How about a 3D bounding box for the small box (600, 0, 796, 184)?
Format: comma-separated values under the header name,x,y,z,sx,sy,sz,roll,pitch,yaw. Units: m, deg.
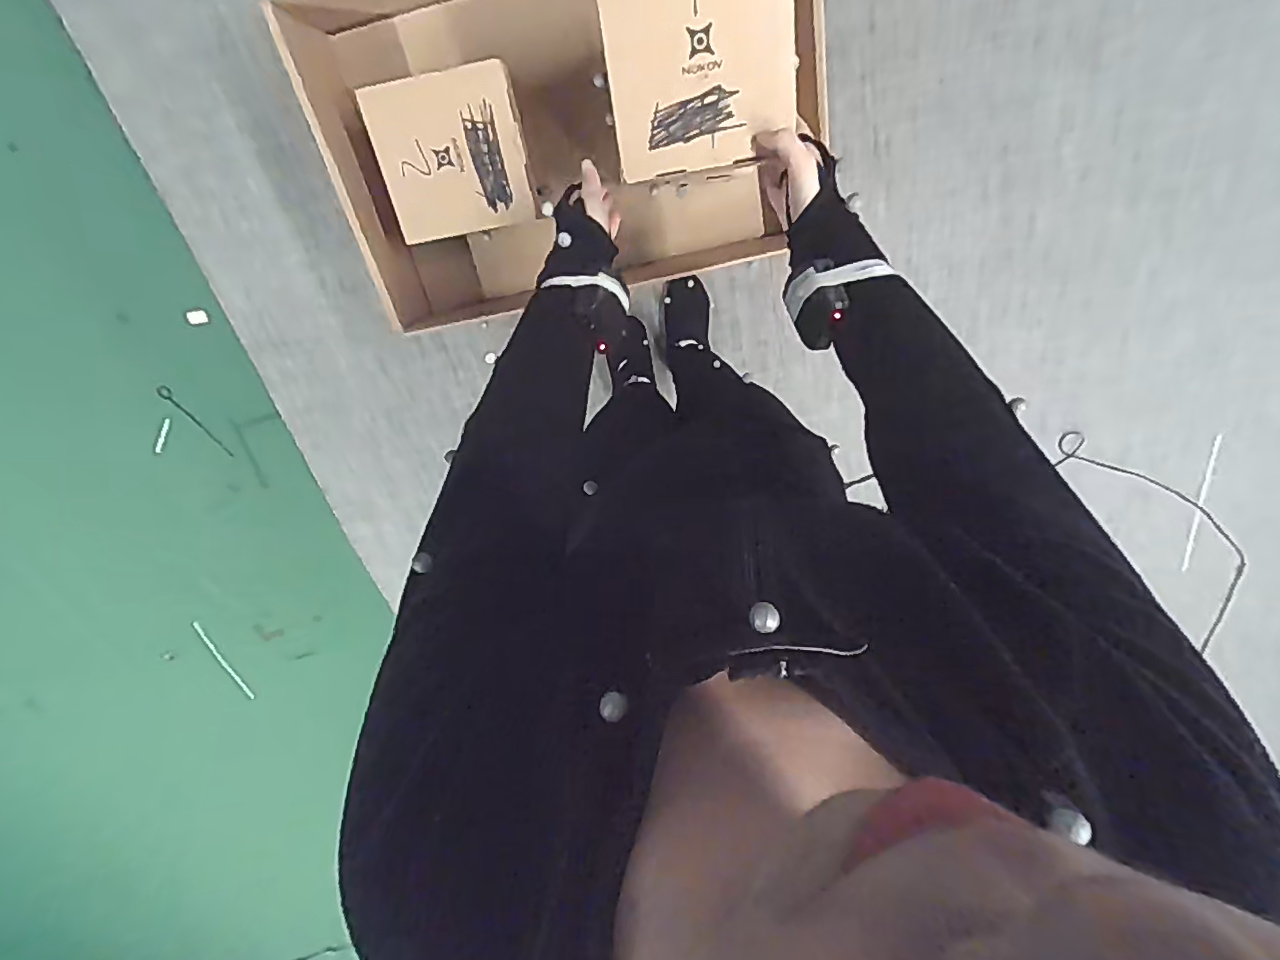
name,x,y,z,sx,sy,sz,roll,pitch,yaw
small box,0.054,-0.406,0.543,0.168,0.176,0.179,-8,116,3
